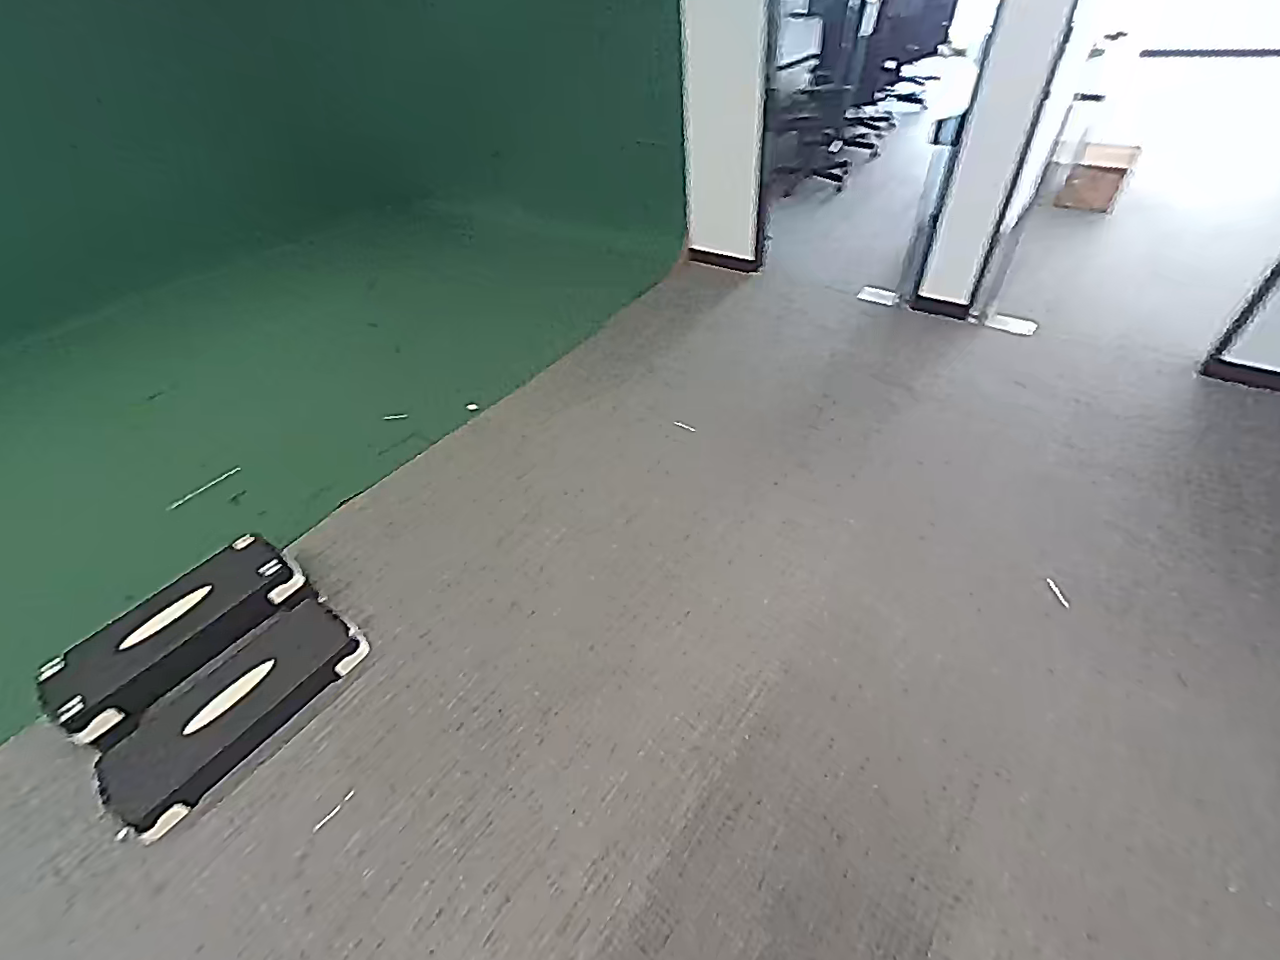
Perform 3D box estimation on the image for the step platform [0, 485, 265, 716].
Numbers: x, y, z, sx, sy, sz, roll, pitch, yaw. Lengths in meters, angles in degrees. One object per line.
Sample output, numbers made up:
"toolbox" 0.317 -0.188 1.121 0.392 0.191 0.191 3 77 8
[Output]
"step platform" -1.490 0.320 1.559 0.286 0.204 0.684 27 55 28
